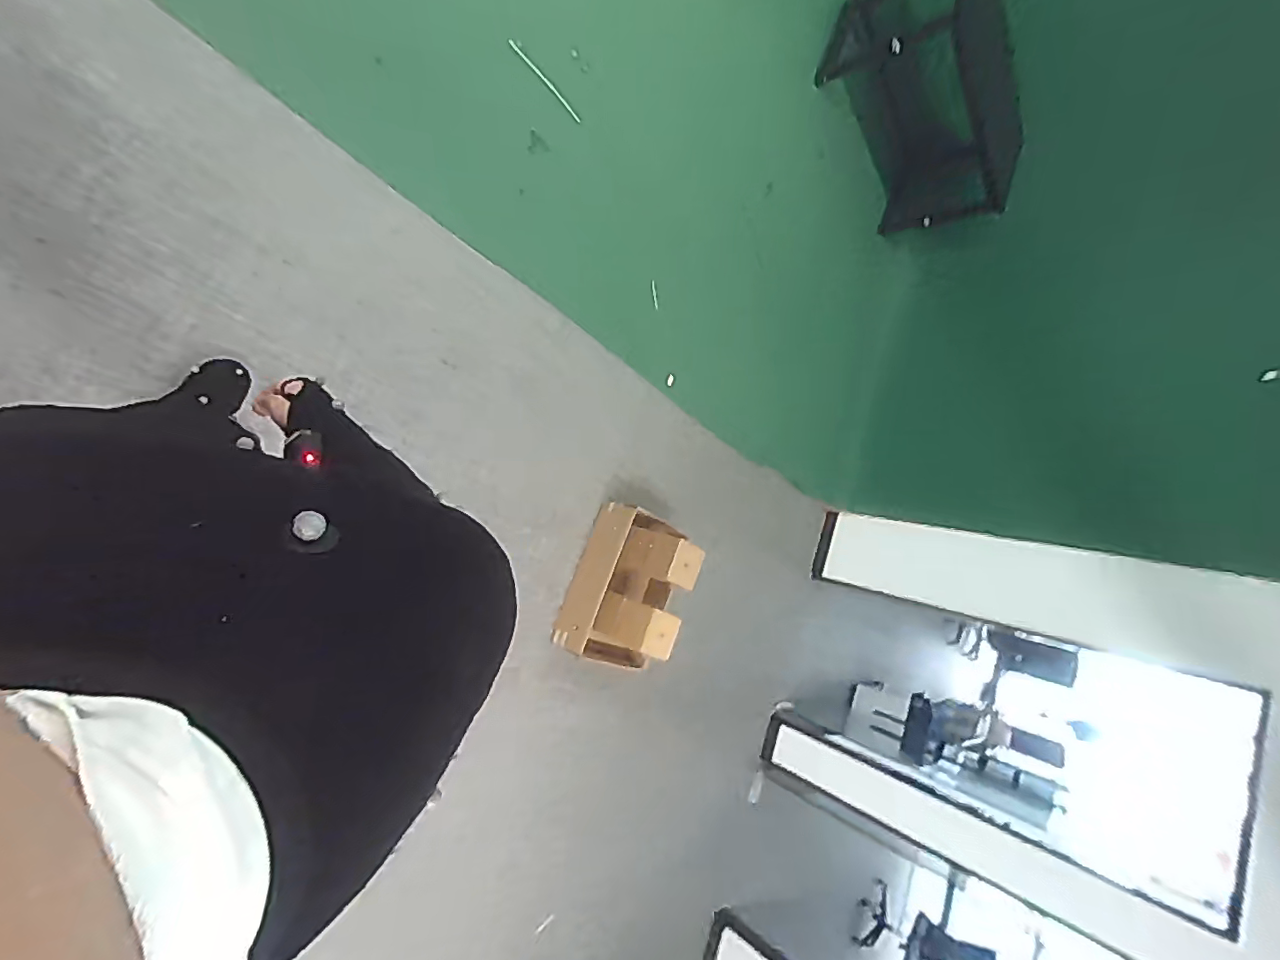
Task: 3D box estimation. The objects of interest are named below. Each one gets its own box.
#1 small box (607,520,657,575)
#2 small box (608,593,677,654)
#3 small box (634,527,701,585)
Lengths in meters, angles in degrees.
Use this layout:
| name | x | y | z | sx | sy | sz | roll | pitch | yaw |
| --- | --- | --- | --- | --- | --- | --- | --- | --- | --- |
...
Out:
| name | x | y | z | sx | sy | sz | roll | pitch | yaw |
| --- | --- | --- | --- | --- | --- | --- | --- | --- | --- |
| small box | -0.006 | 0.276 | 2.252 | 0.179 | 0.176 | 0.168 | 34 | 73 | -44 |
| small box | 0.009 | 0.550 | 2.085 | 0.179 | 0.176 | 0.168 | 33 | 74 | -43 |
| small box | 0.108 | 0.296 | 2.137 | 0.179 | 0.176 | 0.168 | 33 | 74 | -43 |
